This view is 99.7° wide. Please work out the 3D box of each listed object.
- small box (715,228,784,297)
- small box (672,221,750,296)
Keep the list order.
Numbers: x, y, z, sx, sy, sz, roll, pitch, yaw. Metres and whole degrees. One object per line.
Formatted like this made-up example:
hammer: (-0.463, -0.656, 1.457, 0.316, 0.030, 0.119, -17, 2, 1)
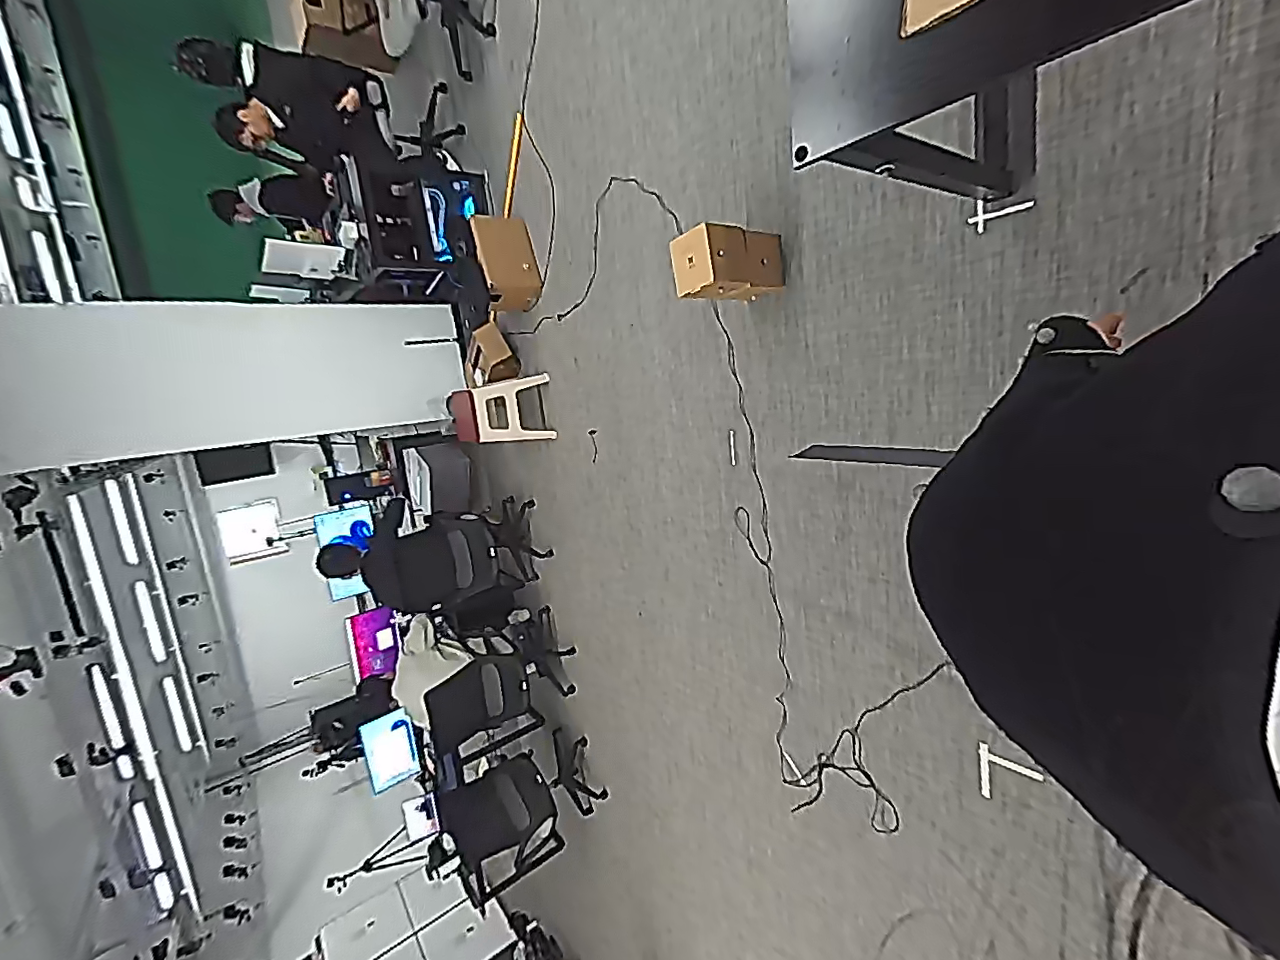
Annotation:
small box: (0.354, -0.708, 1.780, 0.168, 0.176, 0.179, 2, 103, 53)
small box: (0.224, -0.683, 1.684, 0.168, 0.176, 0.179, -3, 98, 53)
